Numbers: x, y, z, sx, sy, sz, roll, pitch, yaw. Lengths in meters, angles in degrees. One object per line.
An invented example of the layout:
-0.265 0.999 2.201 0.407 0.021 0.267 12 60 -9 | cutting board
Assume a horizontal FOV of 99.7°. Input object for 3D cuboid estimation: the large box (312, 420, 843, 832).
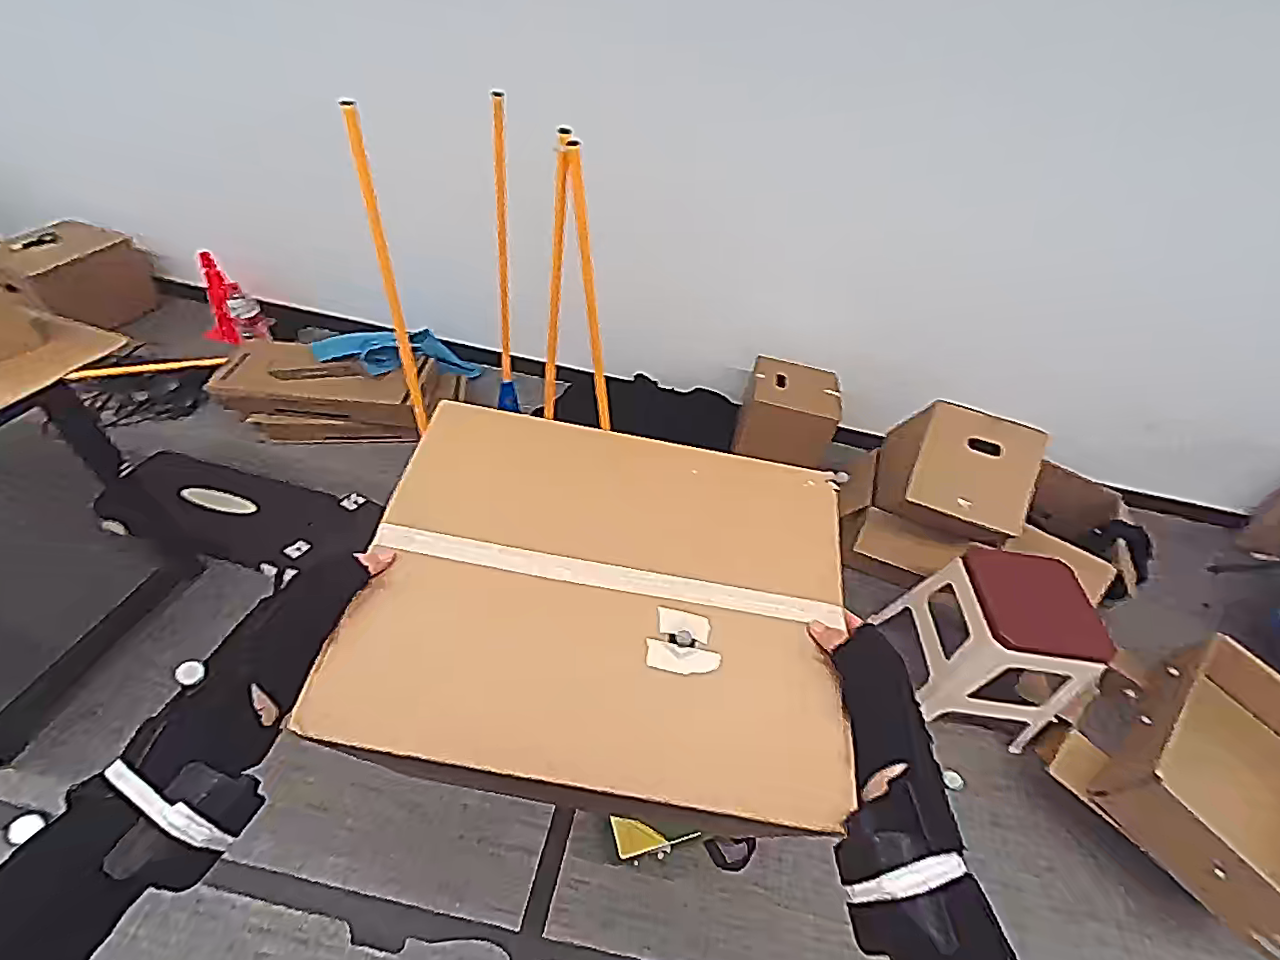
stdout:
-0.043 0.177 0.599 0.408 0.320 0.320 11 57 -1 | large box
